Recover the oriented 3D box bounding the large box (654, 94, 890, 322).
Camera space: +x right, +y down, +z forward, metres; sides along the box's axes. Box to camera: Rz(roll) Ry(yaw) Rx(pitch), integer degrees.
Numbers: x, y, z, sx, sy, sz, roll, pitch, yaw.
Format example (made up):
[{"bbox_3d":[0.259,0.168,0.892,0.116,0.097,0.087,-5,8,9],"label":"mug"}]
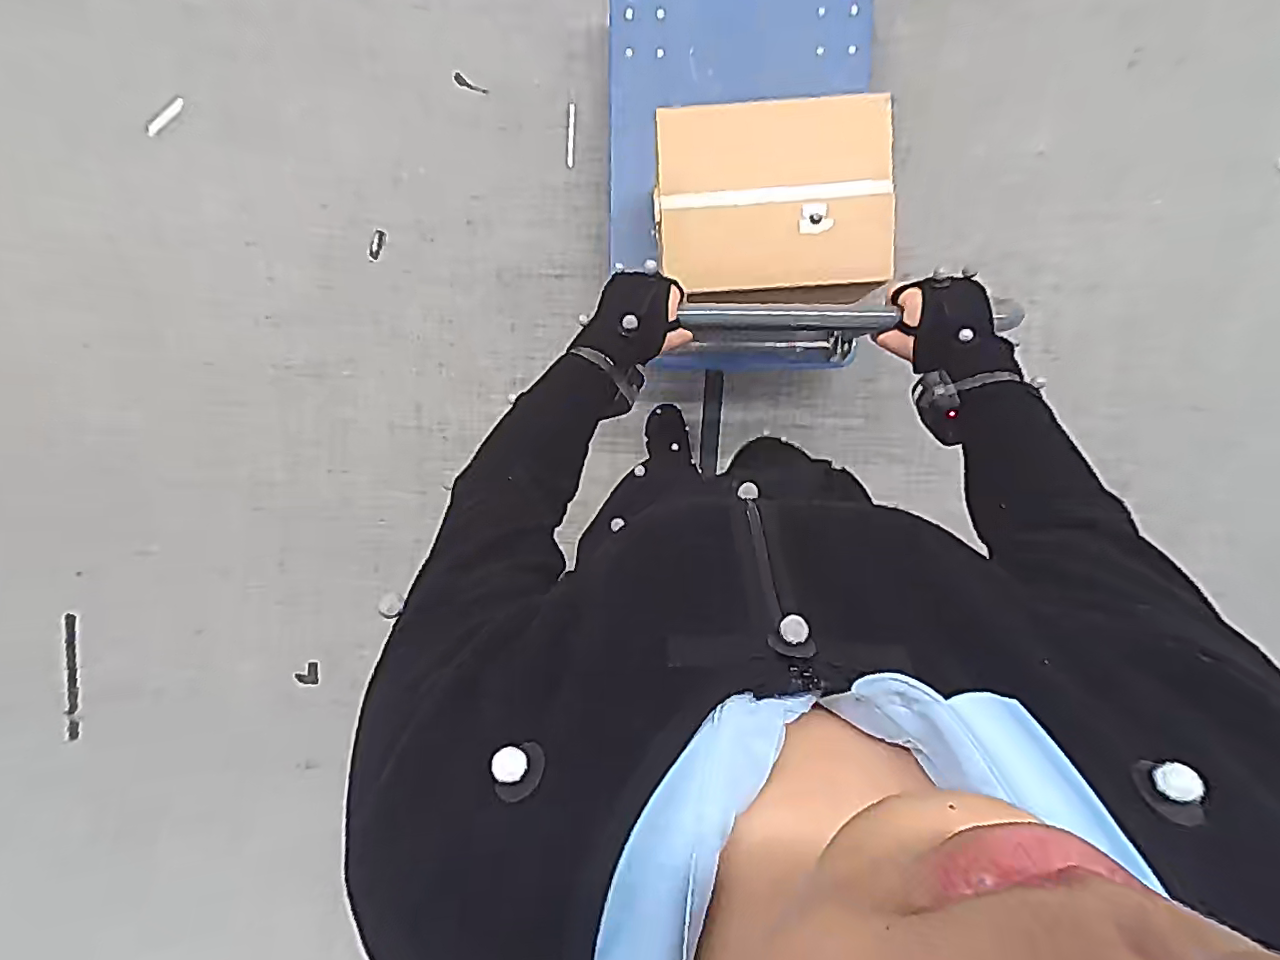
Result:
[{"bbox_3d":[0.240,-0.519,1.102,0.408,0.320,0.320,-3,96,1],"label":"large box"}]
